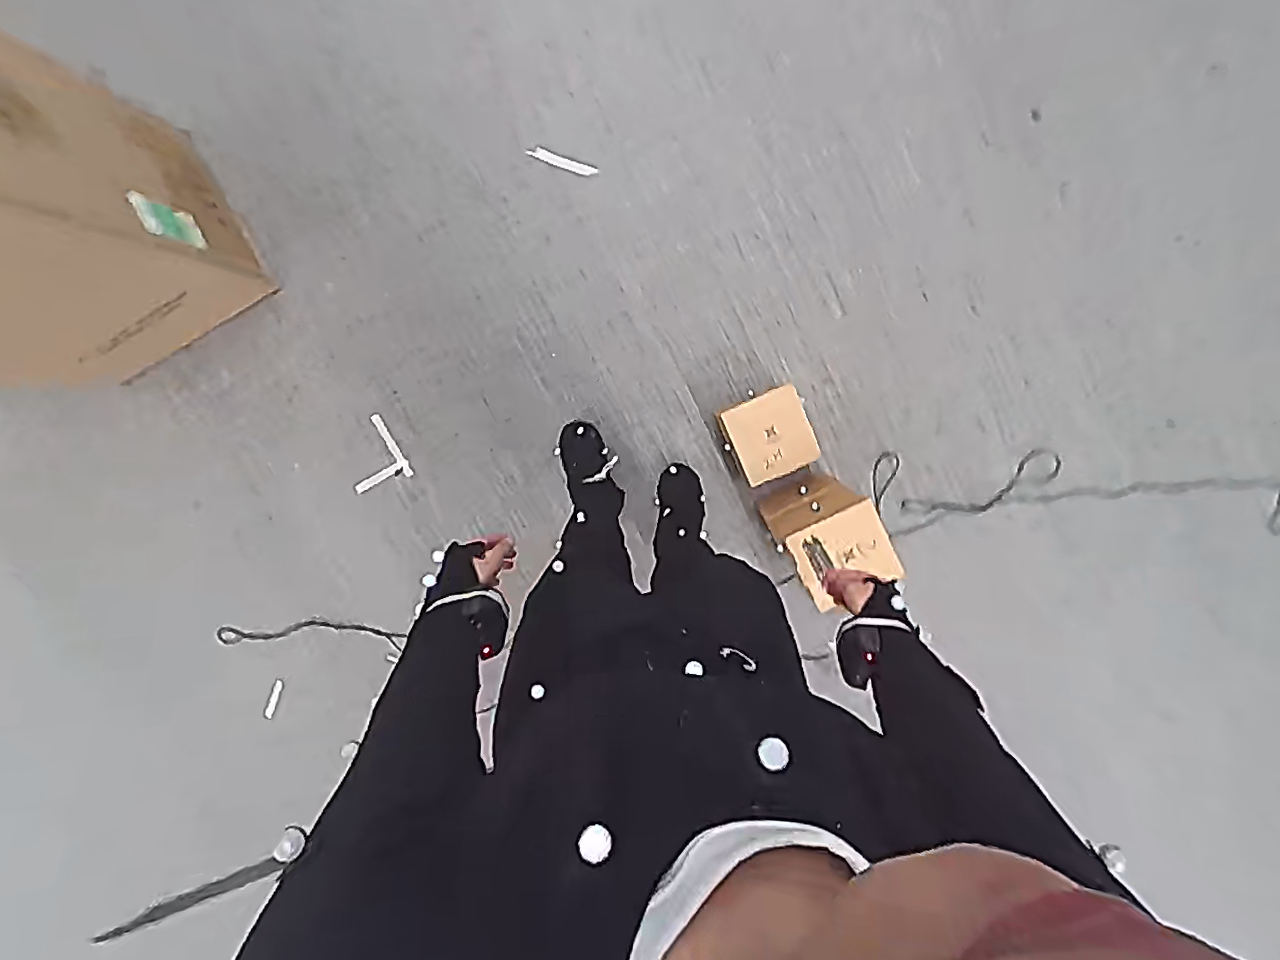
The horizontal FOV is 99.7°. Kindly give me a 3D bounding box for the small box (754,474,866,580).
[{"bbox_3d":[0.385,0.100,1.252,0.179,0.176,0.168,-27,97,7],"label":"small box"}]

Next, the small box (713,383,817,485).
[{"bbox_3d":[0.274,-0.105,1.225,0.168,0.176,0.179,-22,96,6],"label":"small box"}]
